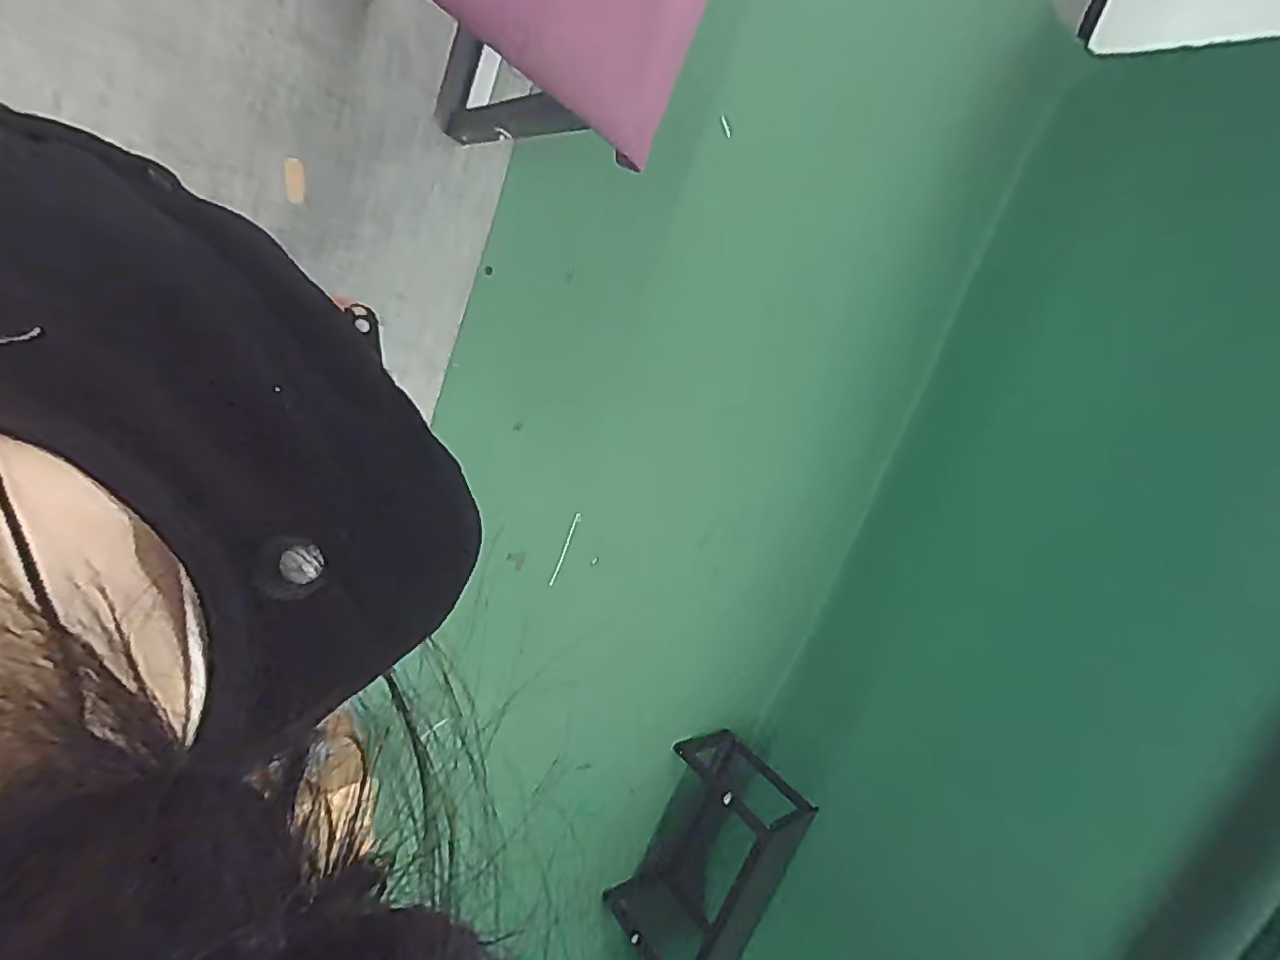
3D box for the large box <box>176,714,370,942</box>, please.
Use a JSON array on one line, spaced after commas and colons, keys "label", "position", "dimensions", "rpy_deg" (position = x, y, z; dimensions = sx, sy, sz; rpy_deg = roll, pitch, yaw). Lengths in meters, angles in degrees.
[{"label": "large box", "position": [-1.036, 0.955, 1.545], "dimensions": [0.408, 0.320, 0.320], "rpy_deg": [-8, 118, -42]}]
